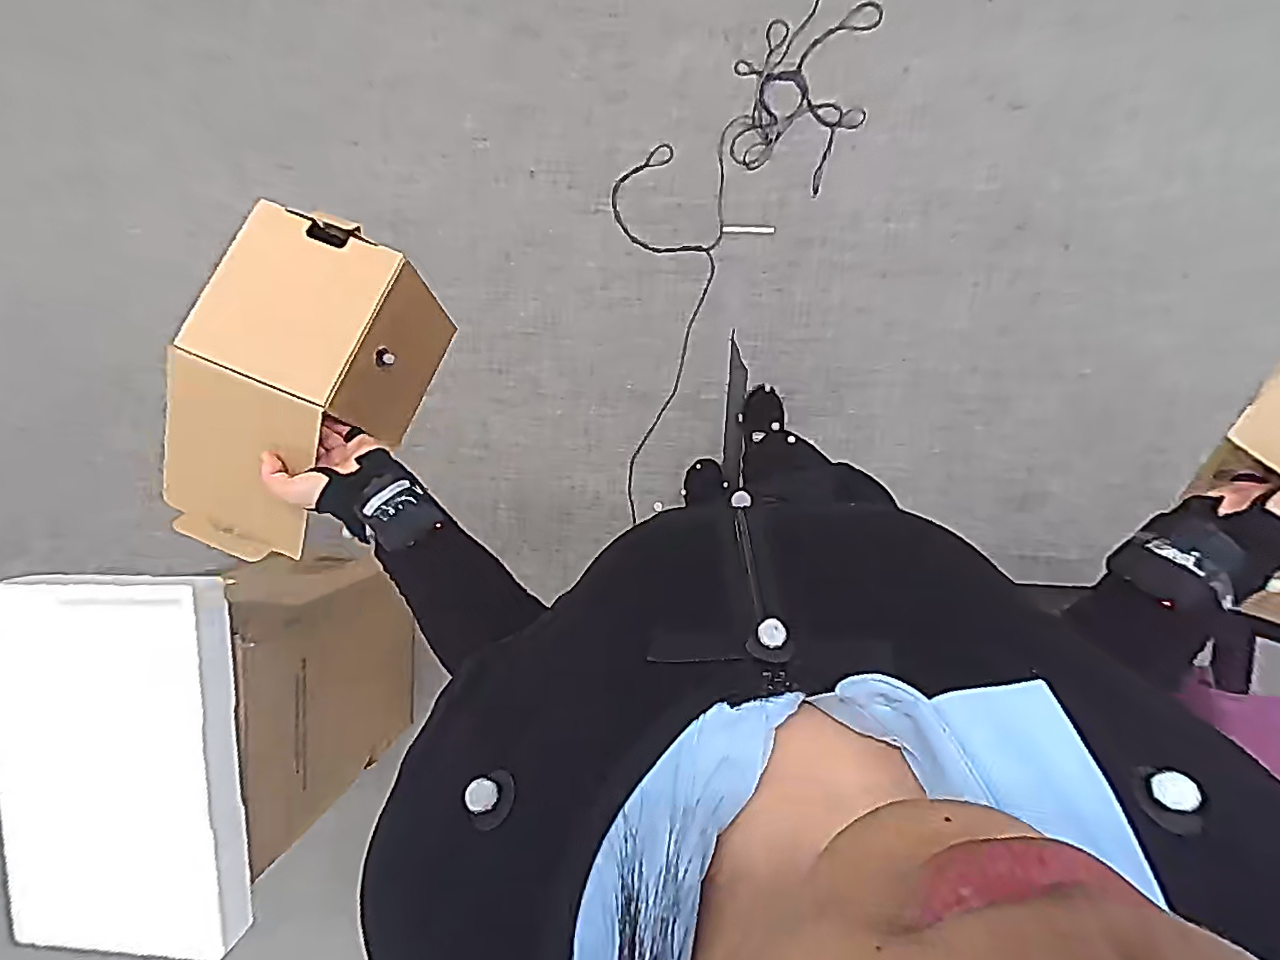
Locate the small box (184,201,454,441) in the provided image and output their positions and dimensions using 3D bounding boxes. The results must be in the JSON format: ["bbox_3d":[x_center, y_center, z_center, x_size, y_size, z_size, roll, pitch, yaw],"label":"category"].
[{"bbox_3d":[-0.337,-0.163,0.612,0.168,0.176,0.179,23,80,3],"label":"small box"}]
